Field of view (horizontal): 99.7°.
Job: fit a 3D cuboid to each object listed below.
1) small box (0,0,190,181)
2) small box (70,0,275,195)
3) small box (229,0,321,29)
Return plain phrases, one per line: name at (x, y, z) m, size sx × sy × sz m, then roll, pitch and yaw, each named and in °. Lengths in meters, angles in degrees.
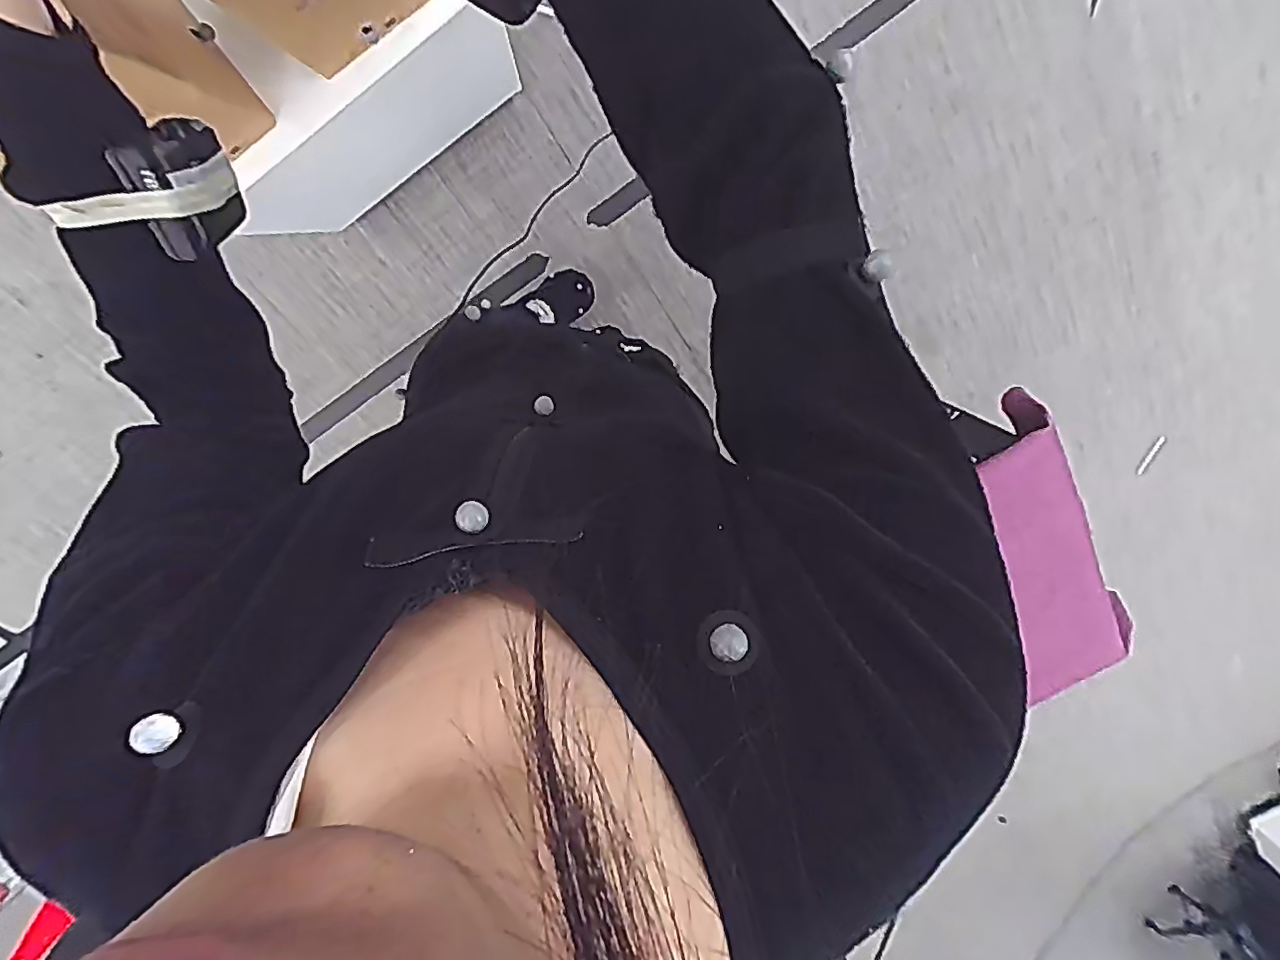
small box at (-0.523, -0.361, 0.423) m, size 0.168 × 0.176 × 0.179 m, roll -34°, pitch 114°, yaw 8°
small box at (-0.545, -0.429, 0.568) m, size 0.168 × 0.176 × 0.179 m, roll -33°, pitch 114°, yaw 8°
small box at (-0.312, -0.488, 0.392) m, size 0.168 × 0.176 × 0.179 m, roll -31°, pitch 116°, yaw 7°
